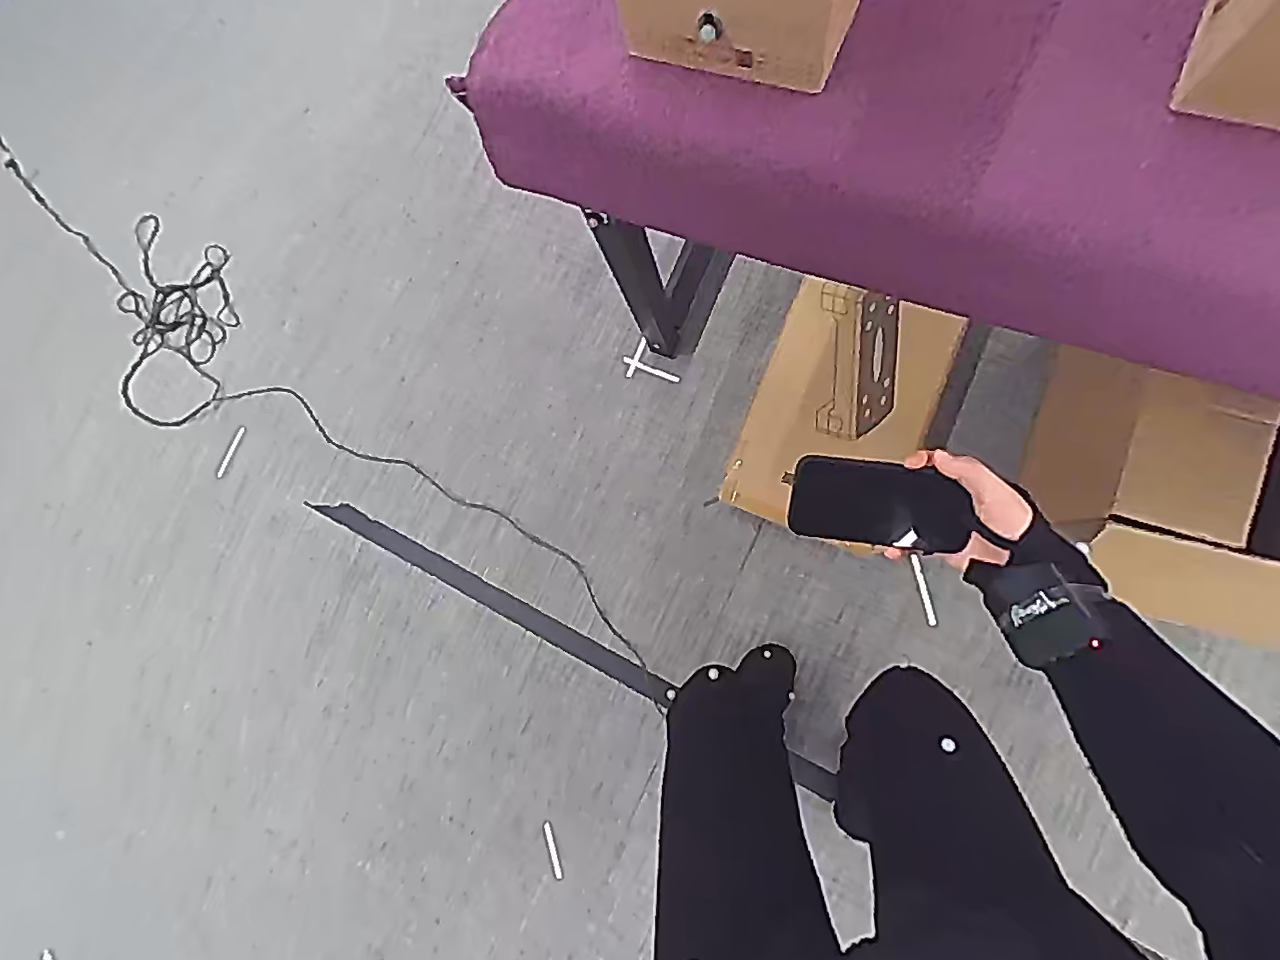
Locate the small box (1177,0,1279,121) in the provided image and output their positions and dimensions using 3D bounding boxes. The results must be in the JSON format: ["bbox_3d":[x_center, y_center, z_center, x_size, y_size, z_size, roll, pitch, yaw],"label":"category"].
[{"bbox_3d":[0.451,-0.306,0.271,0.179,0.176,0.168,22,85,13],"label":"small box"}]
